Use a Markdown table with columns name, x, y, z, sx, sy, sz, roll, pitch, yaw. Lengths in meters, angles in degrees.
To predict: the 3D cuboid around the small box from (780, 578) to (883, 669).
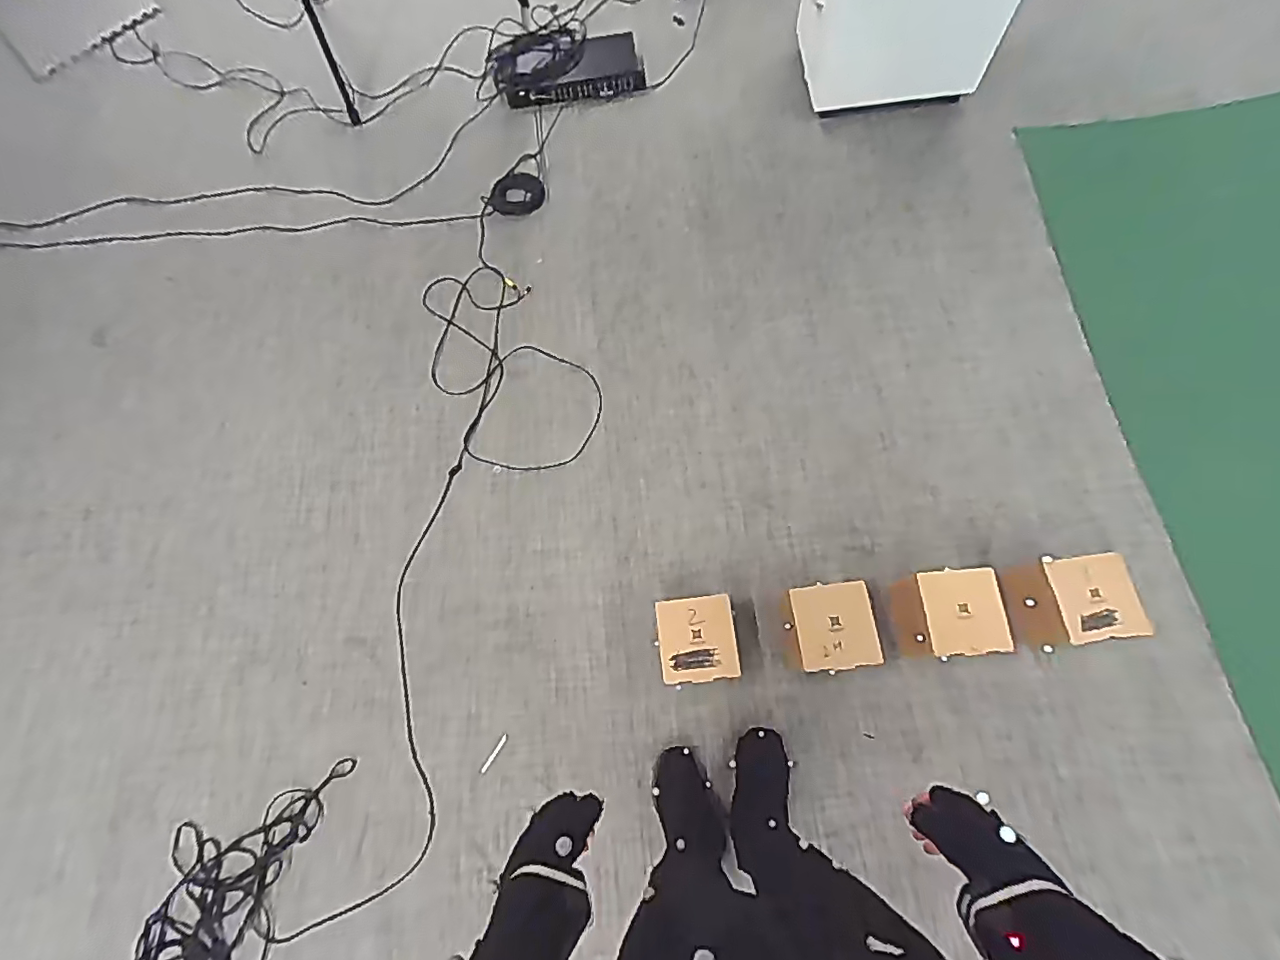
| name | x | y | z | sx | sy | sz | roll | pitch | yaw |
| --- | --- | --- | --- | --- | --- | --- | --- | --- | --- |
| small box | 0.420 | 0.327 | 1.219 | 0.168 | 0.176 | 0.179 | -8 | 72 | 3 |

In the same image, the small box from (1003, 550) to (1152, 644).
| name | x | y | z | sx | sy | sz | roll | pitch | yaw |
| --- | --- | --- | --- | --- | --- | --- | --- | --- | --- |
| small box | 0.954 | 0.264 | 1.199 | 0.168 | 0.176 | 0.179 | -8 | 71 | 2 |

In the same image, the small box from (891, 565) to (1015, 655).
| name | x | y | z | sx | sy | sz | roll | pitch | yaw |
| --- | --- | --- | --- | --- | --- | --- | --- | --- | --- |
| small box | 0.687 | 0.296 | 1.211 | 0.168 | 0.176 | 0.179 | -5 | 72 | 3 |
